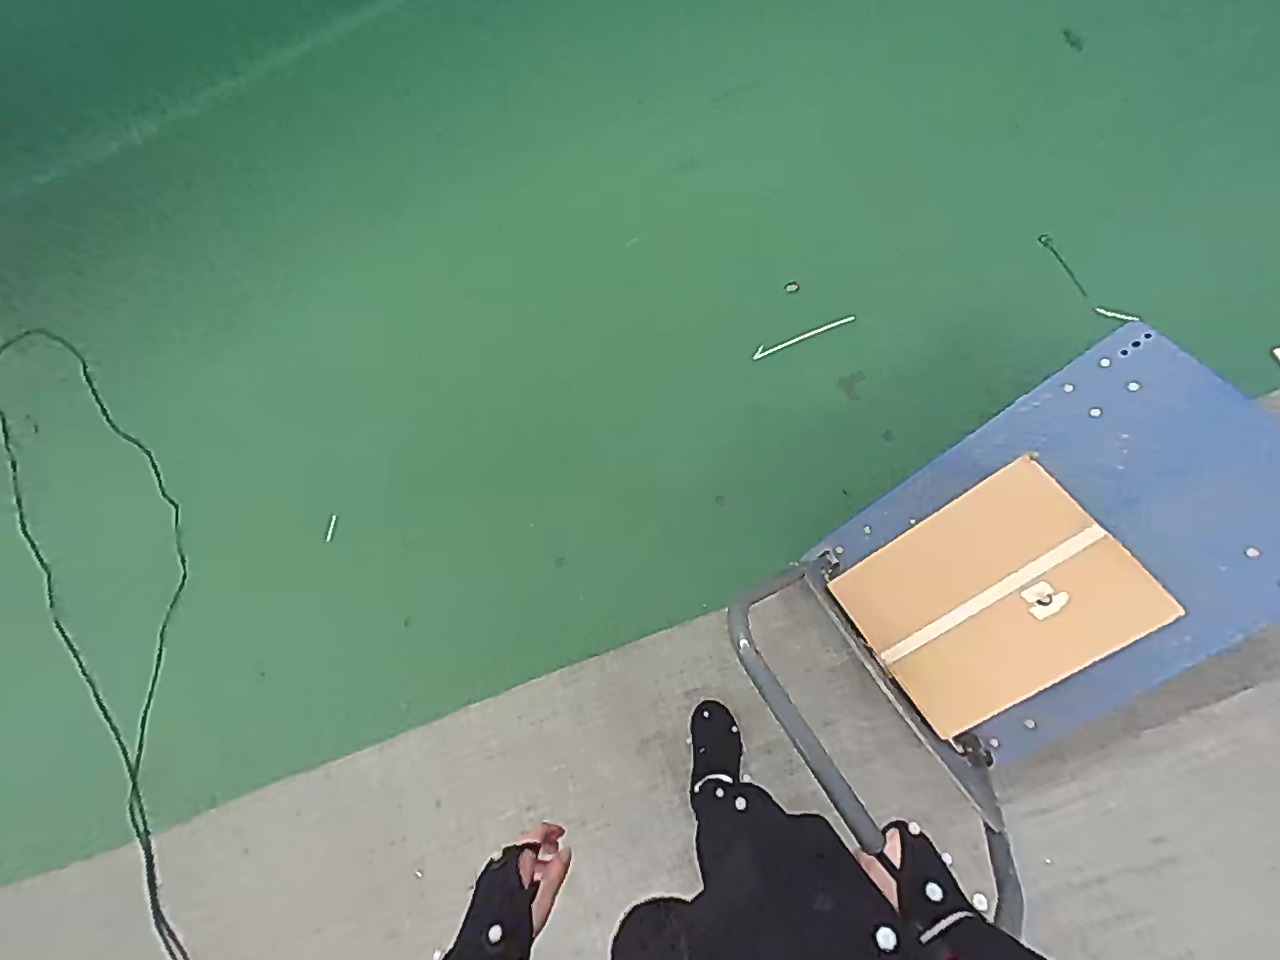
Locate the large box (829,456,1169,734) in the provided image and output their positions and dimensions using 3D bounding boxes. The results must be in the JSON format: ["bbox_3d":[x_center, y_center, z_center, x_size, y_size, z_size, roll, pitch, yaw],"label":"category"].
[{"bbox_3d":[0.641,0.218,1.053,0.408,0.320,0.320,-38,69,14],"label":"large box"}]
